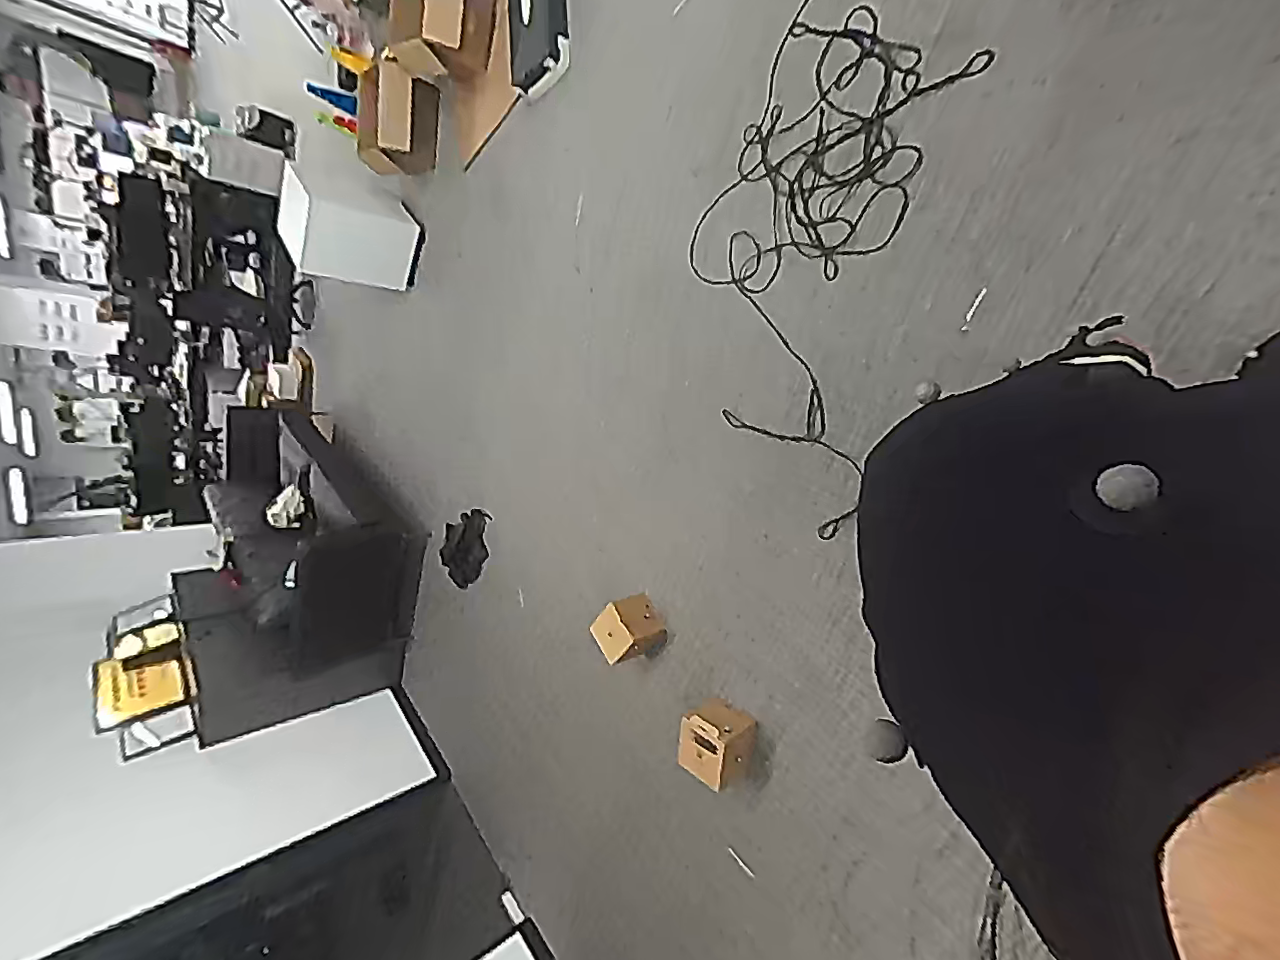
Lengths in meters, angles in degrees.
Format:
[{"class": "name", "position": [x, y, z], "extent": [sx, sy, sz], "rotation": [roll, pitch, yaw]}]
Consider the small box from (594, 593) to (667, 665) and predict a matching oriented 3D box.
[{"class": "small box", "position": [-0.032, 0.537, 1.963], "extent": [0.168, 0.176, 0.179], "rotation": [54, 127, 28]}]
